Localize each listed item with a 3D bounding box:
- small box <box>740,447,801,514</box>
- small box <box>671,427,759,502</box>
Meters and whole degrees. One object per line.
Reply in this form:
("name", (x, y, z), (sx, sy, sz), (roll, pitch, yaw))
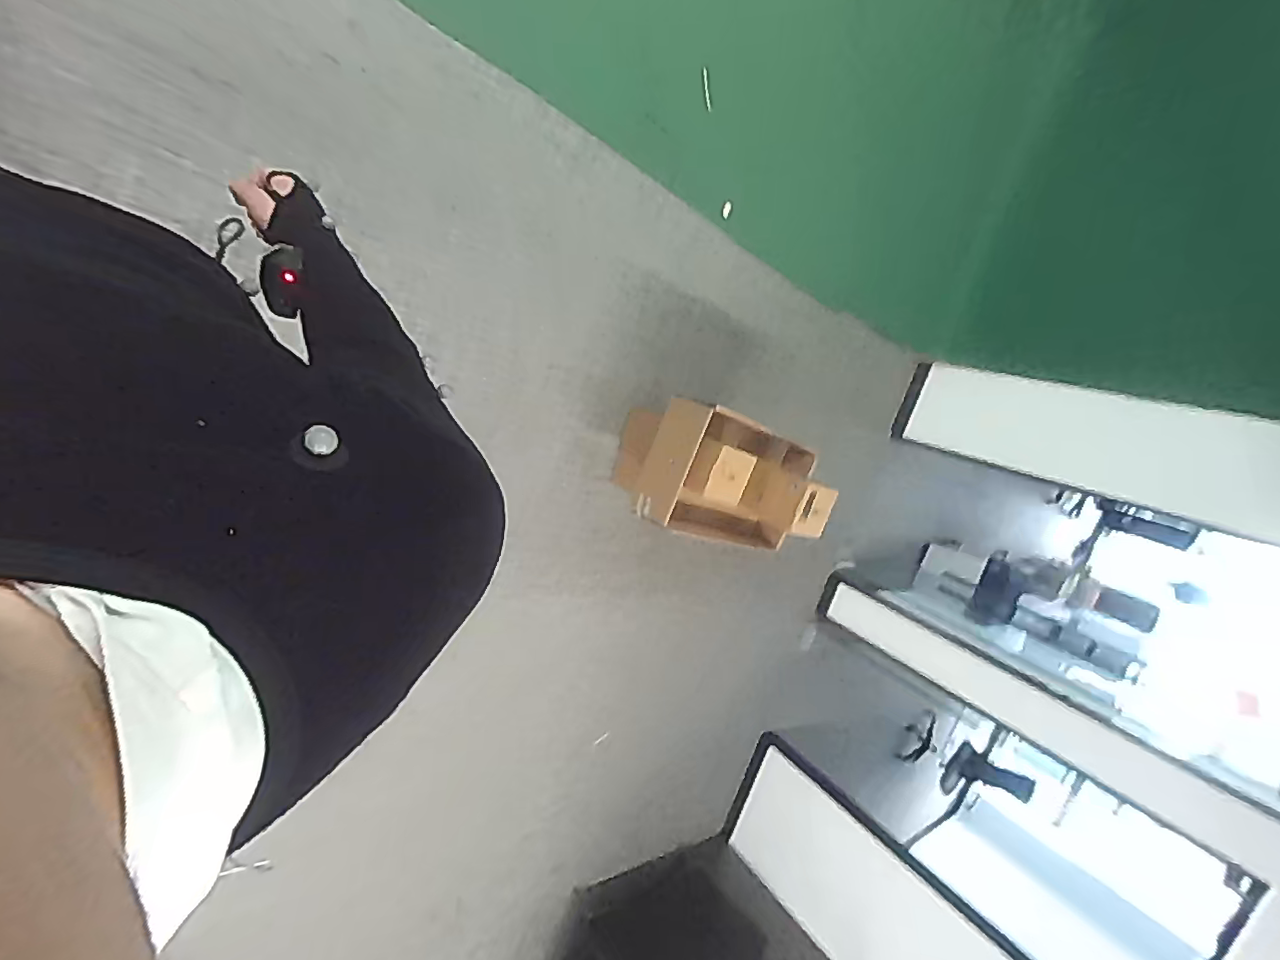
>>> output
("small box", (0.408, 0.000, 1.846), (0.179, 0.176, 0.168), (14, 101, -40))
("small box", (0.229, -0.051, 1.672), (0.179, 0.176, 0.168), (16, 99, -43))
